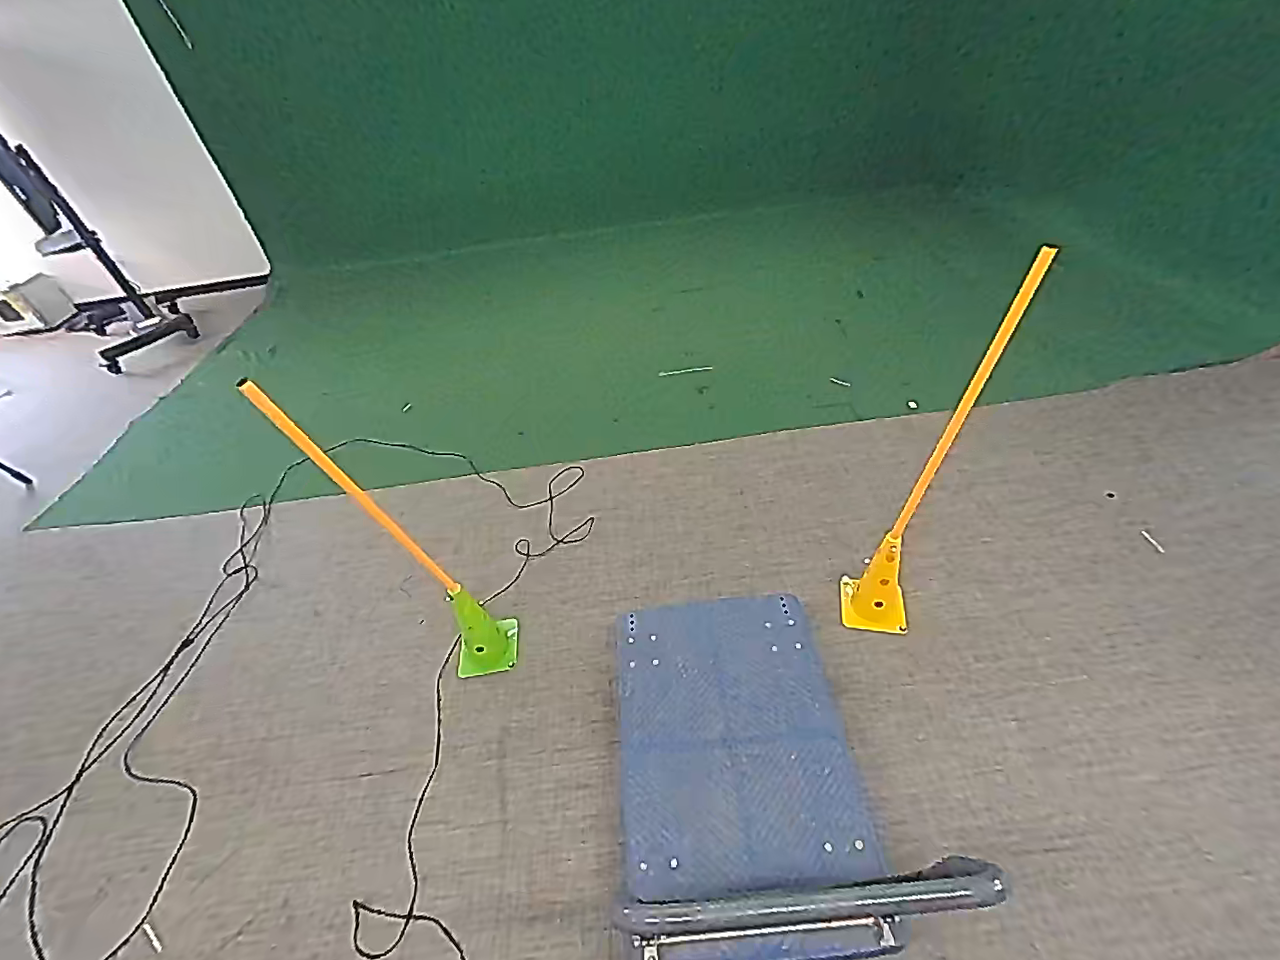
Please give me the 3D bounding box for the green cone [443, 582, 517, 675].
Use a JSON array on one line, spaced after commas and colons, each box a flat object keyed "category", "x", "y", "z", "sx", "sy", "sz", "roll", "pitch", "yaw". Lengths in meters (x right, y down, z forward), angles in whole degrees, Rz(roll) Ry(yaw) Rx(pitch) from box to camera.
[{"category": "green cone", "x": -0.554, "y": 0.452, "z": 1.778, "sx": 0.202, "sy": 0.368, "sz": 0.200, "roll": -12, "pitch": 42, "yaw": 0}]
